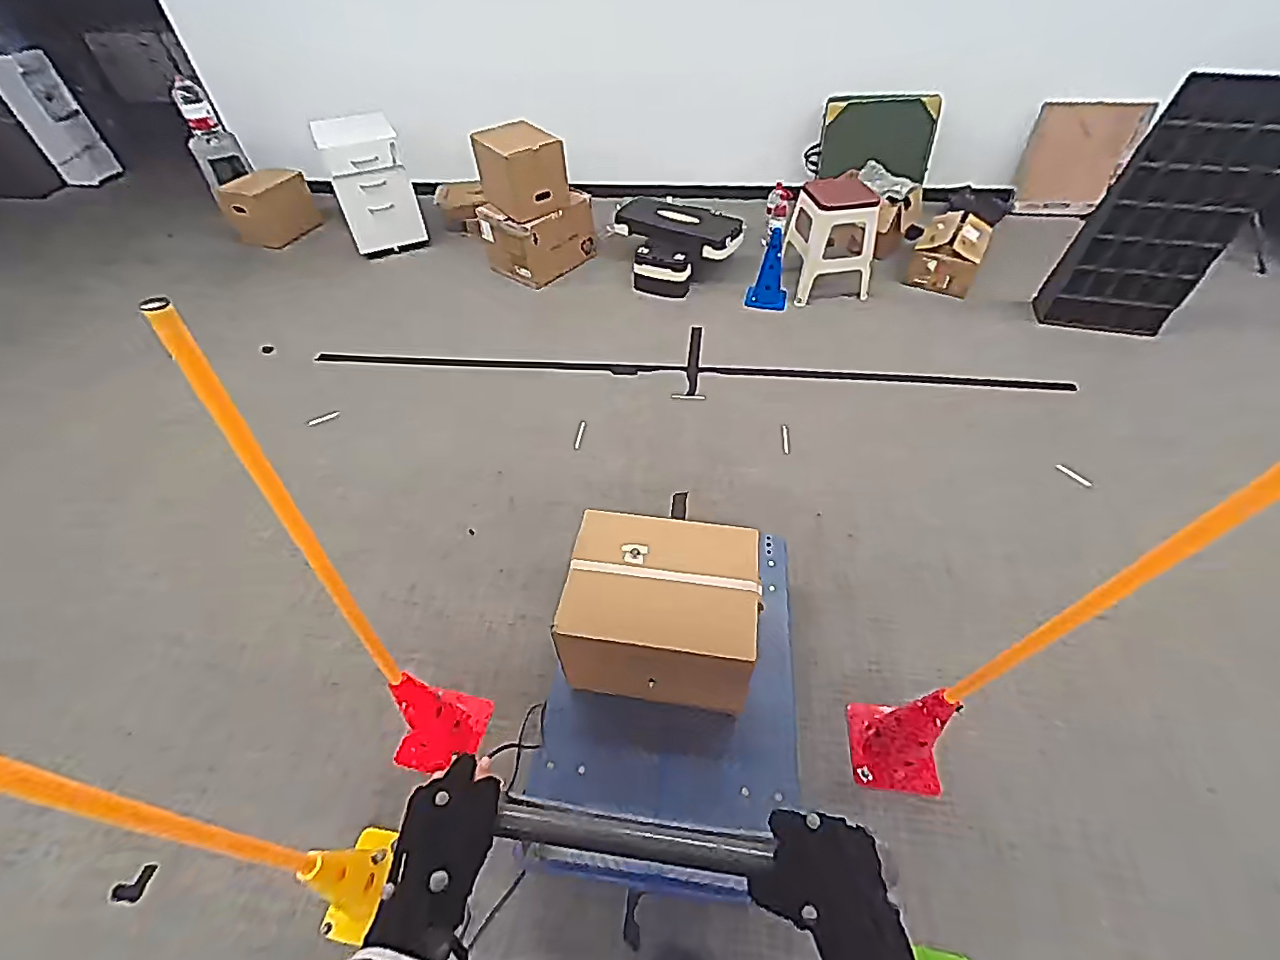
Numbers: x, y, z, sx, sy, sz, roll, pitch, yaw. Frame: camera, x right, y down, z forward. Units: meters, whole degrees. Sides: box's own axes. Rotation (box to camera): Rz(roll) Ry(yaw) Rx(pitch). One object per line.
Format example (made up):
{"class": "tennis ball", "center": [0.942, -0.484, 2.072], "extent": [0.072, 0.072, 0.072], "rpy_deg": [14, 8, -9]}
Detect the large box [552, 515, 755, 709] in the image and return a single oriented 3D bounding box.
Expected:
{"class": "large box", "center": [0.049, 0.311, 1.262], "extent": [0.408, 0.320, 0.320], "rpy_deg": [6, 50, 8]}

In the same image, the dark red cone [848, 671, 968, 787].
{"class": "dark red cone", "center": [0.627, 0.529, 1.213], "extent": [0.201, 0.394, 0.202], "rpy_deg": [5, 49, 4]}

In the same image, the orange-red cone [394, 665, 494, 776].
{"class": "orange-red cone", "center": [-0.506, 0.529, 1.282], "extent": [0.198, 0.360, 0.199], "rpy_deg": [10, 48, 10]}

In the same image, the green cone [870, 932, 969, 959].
{"class": "green cone", "center": [0.549, 0.899, 0.908], "extent": [0.202, 0.368, 0.200], "rpy_deg": [8, 49, 7]}
